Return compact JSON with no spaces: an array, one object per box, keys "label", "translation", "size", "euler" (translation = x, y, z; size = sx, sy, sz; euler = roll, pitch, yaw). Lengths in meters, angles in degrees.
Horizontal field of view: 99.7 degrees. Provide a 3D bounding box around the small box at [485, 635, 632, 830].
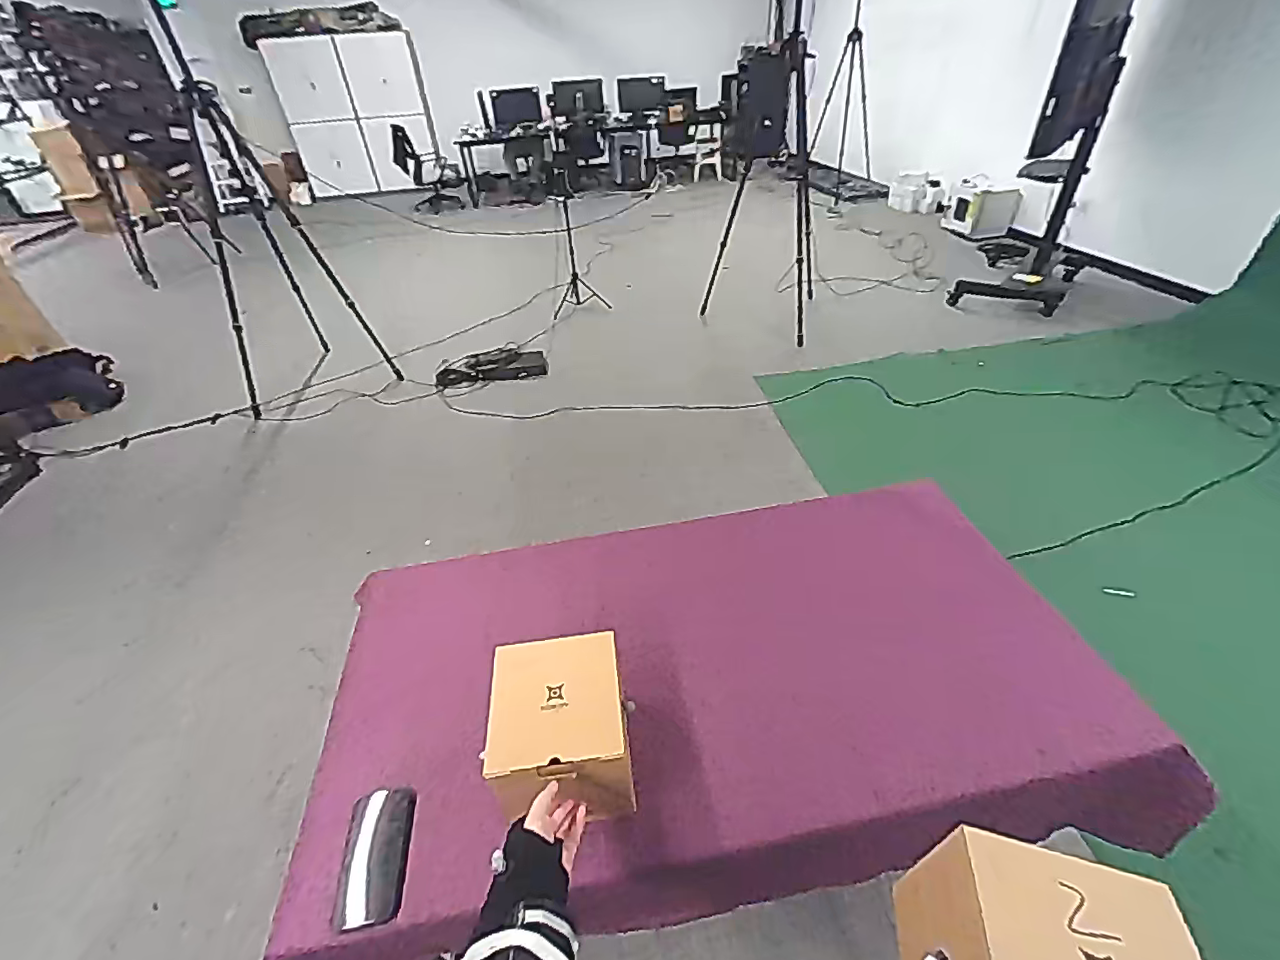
[{"label":"small box","translation":[-0.104,0.342,0.741],"size":[0.168,0.176,0.179],"euler":[-7,39,-3]}]
